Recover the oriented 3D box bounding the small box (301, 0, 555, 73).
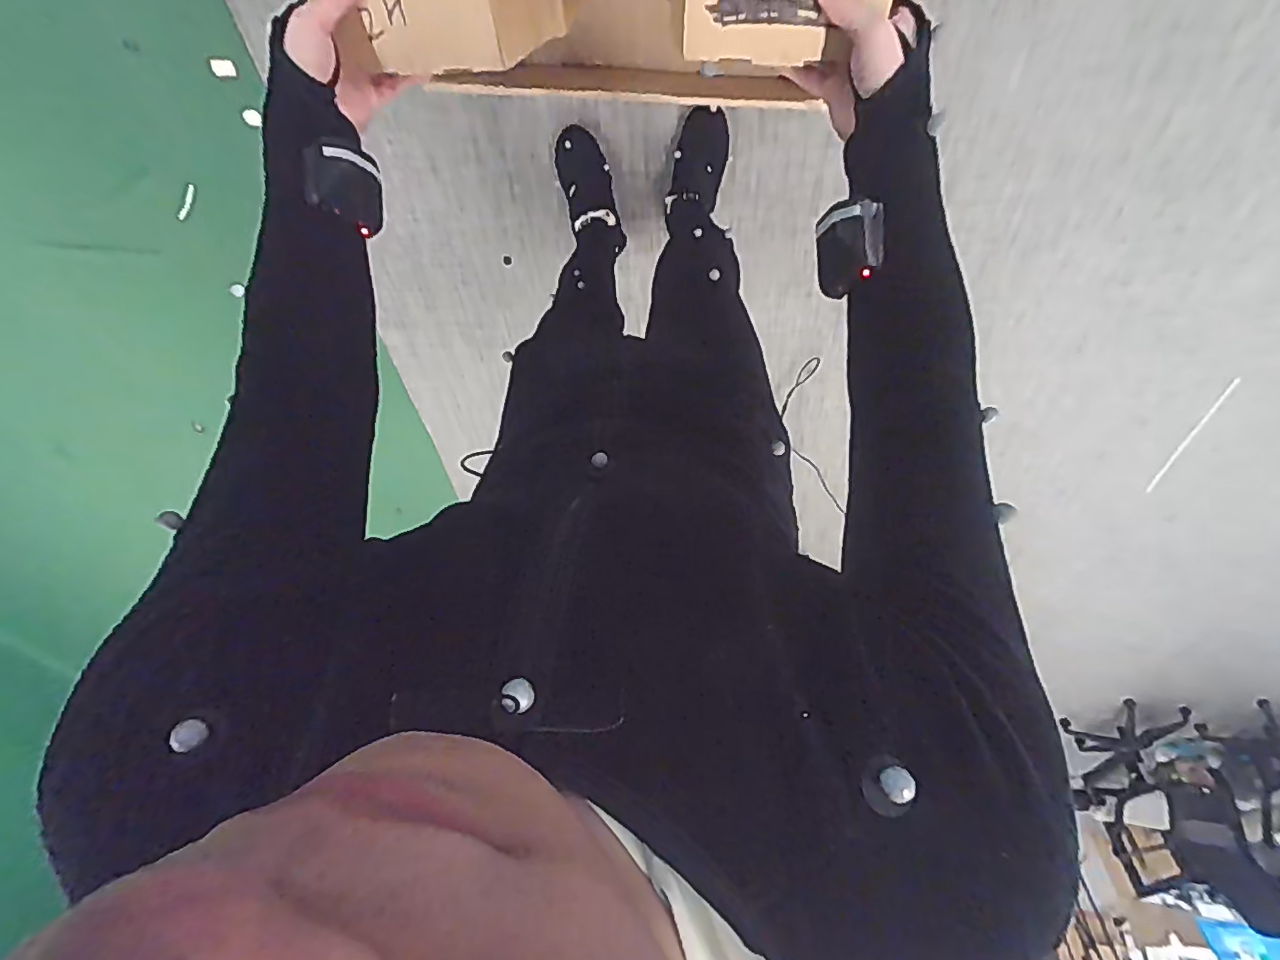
[{"bbox_3d":[-0.183,-0.470,0.454,0.168,0.176,0.179,7,140,10],"label":"small box"}]

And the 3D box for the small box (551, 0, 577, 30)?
[{"bbox_3d":[-0.165,-0.600,0.582,0.168,0.176,0.179,-1,134,3],"label":"small box"}]
